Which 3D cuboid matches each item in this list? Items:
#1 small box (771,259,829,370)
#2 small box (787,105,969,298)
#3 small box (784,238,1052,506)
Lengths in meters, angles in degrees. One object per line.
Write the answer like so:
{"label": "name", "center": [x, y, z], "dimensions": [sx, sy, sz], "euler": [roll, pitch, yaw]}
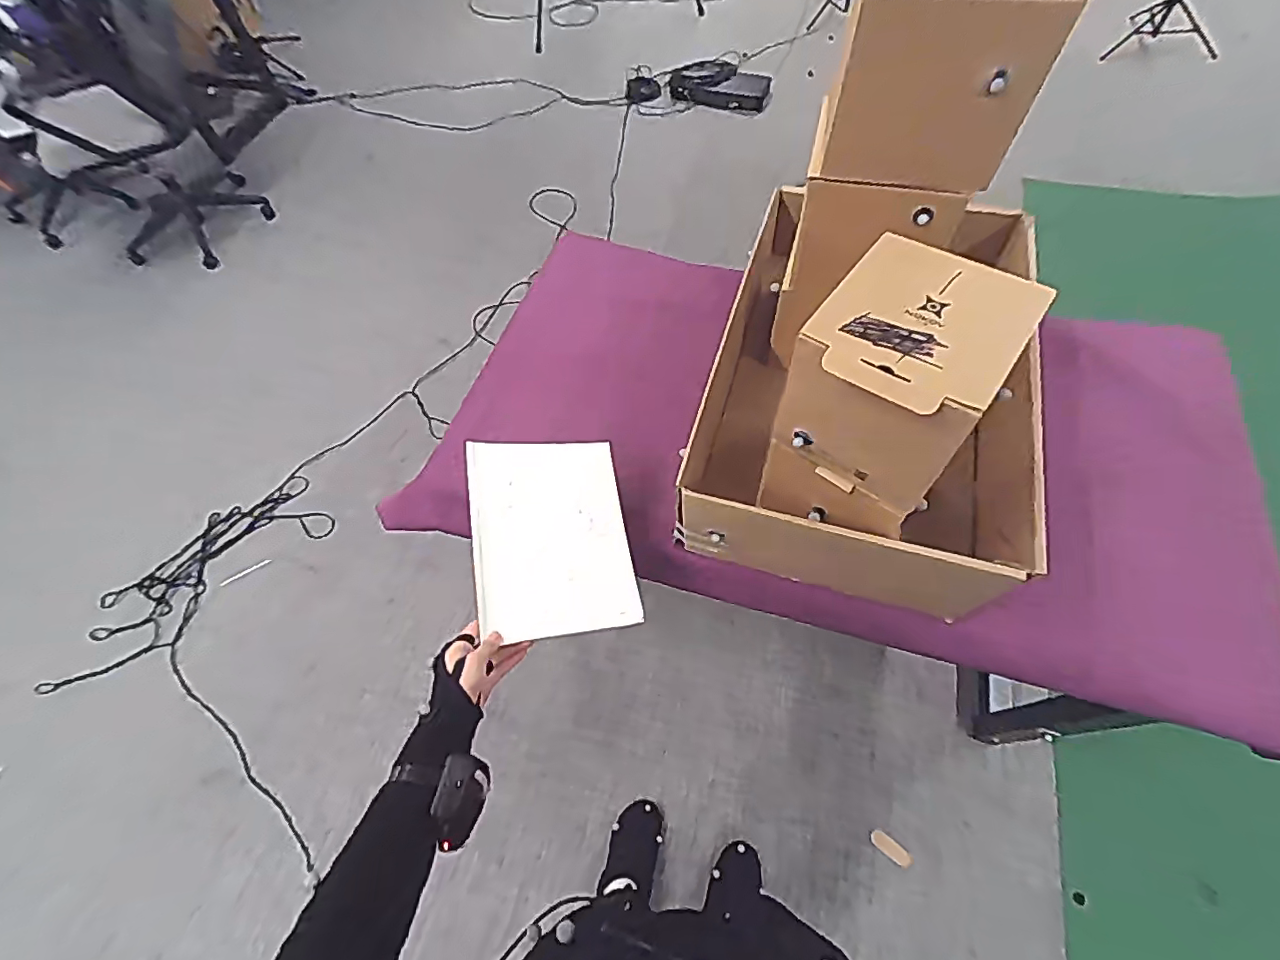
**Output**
{"label": "small box", "center": [0.305, -0.272, 0.840], "dimensions": [0.168, 0.176, 0.179], "euler": [14, 64, 13]}
{"label": "small box", "center": [0.296, -0.347, 0.697], "dimensions": [0.179, 0.176, 0.168], "euler": [11, 63, 11]}
{"label": "small box", "center": [0.263, -0.105, 0.553], "dimensions": [0.168, 0.176, 0.179], "euler": [33, 66, 23]}
